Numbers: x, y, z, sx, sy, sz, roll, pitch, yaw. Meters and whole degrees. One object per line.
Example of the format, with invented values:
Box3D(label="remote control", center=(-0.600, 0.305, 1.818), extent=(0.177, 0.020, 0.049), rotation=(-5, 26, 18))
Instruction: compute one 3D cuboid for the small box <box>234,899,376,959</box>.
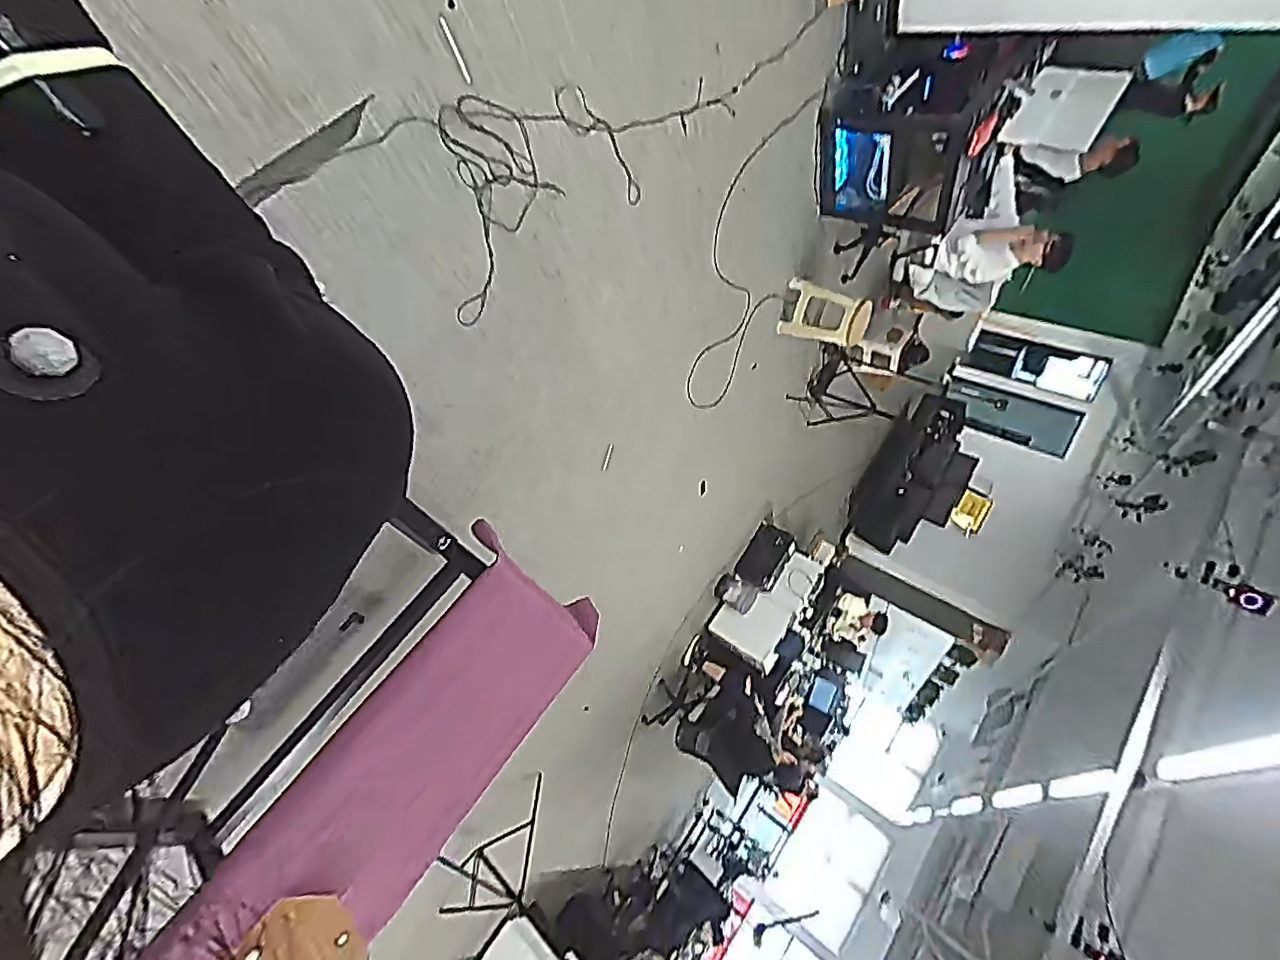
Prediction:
Box3D(label="small box", center=(-0.686, 0.989, 1.093), extent=(0.168, 0.176, 0.179), rotation=(-50, 146, -21))
